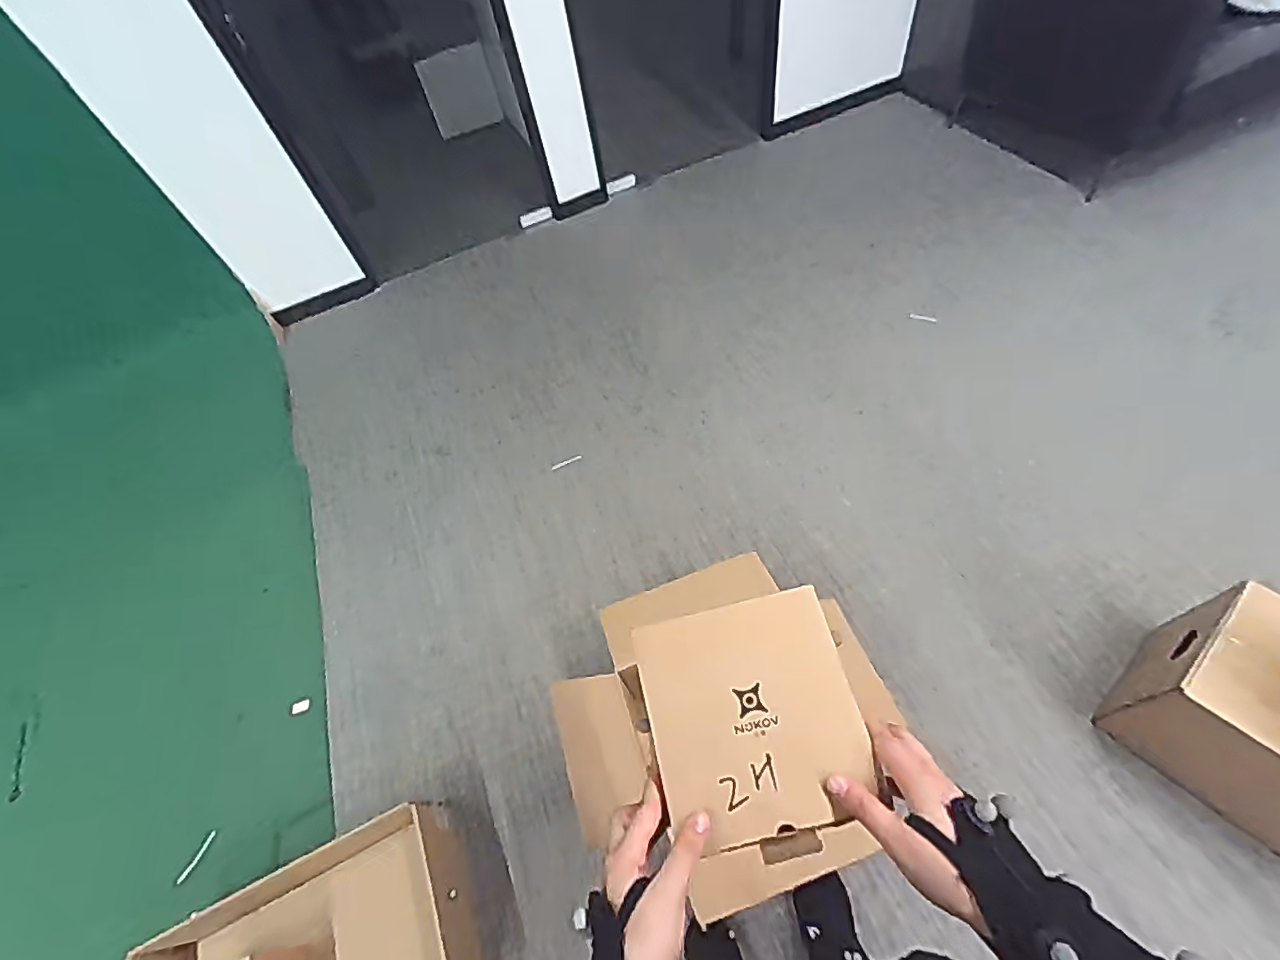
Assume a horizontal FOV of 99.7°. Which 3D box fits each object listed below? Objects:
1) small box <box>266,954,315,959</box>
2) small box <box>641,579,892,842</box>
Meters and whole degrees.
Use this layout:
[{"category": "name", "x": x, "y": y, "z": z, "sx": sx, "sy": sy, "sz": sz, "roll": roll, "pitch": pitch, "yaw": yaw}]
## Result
[{"category": "small box", "x": -0.758, "y": 1.061, "z": 1.042, "sx": 0.179, "sy": 0.176, "sz": 0.168, "roll": -25, "pitch": 54, "yaw": -8}, {"category": "small box", "x": 0.103, "y": 0.214, "z": 0.515, "sx": 0.168, "sy": 0.176, "sz": 0.179, "roll": -14, "pitch": 65, "yaw": 1}]
